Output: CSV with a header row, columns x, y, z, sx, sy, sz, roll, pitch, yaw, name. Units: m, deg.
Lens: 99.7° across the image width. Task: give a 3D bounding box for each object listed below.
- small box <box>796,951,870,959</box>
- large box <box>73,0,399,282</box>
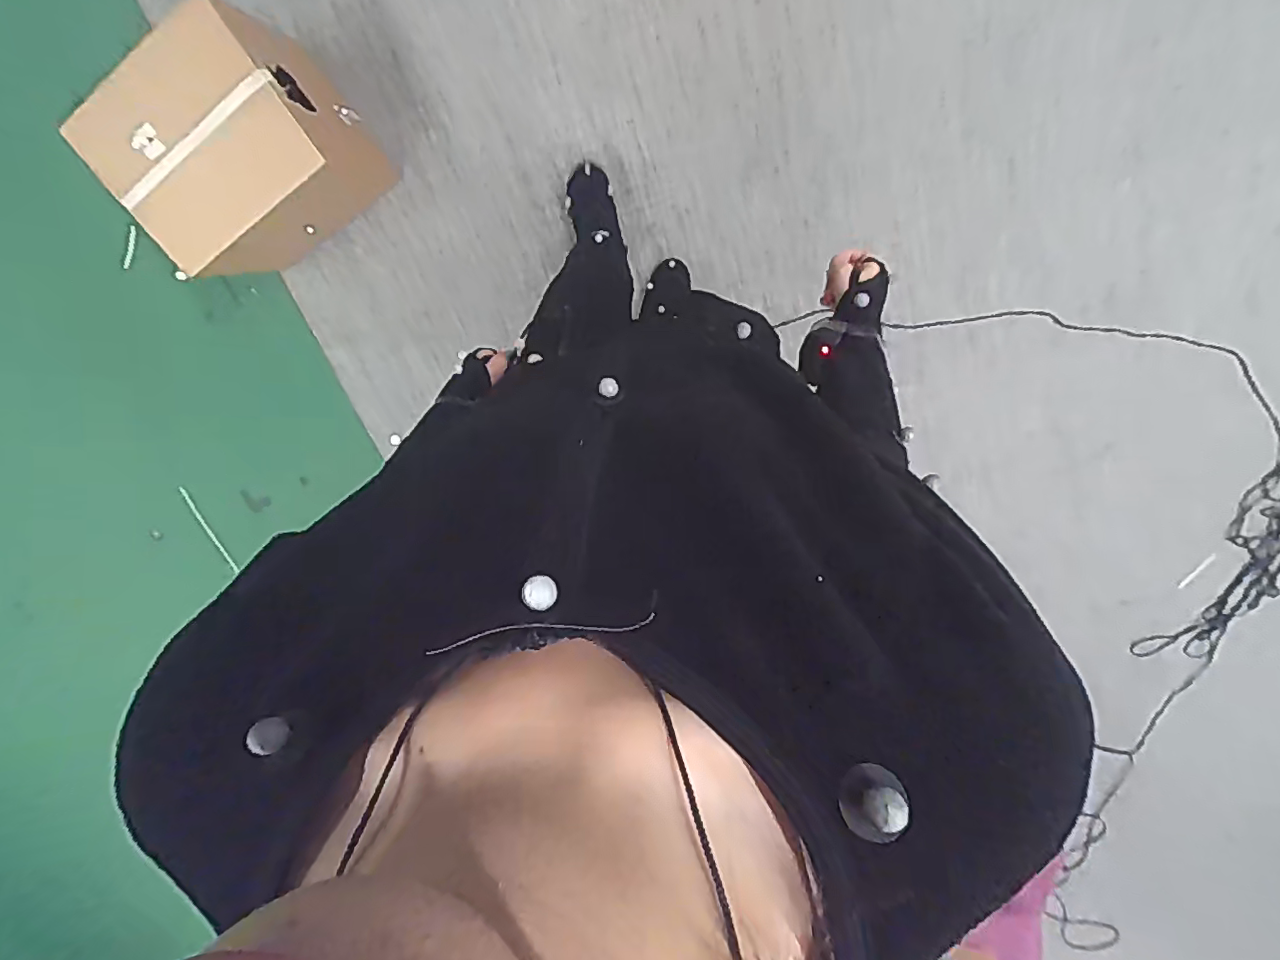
x,y,z,sx,sy,sz,roll,pitch,yaw,name
0.442,1.153,1.162,0.168,0.176,0.179,-14,113,8,small box
-0.819,-0.680,1.153,0.408,0.320,0.320,-28,108,15,large box
